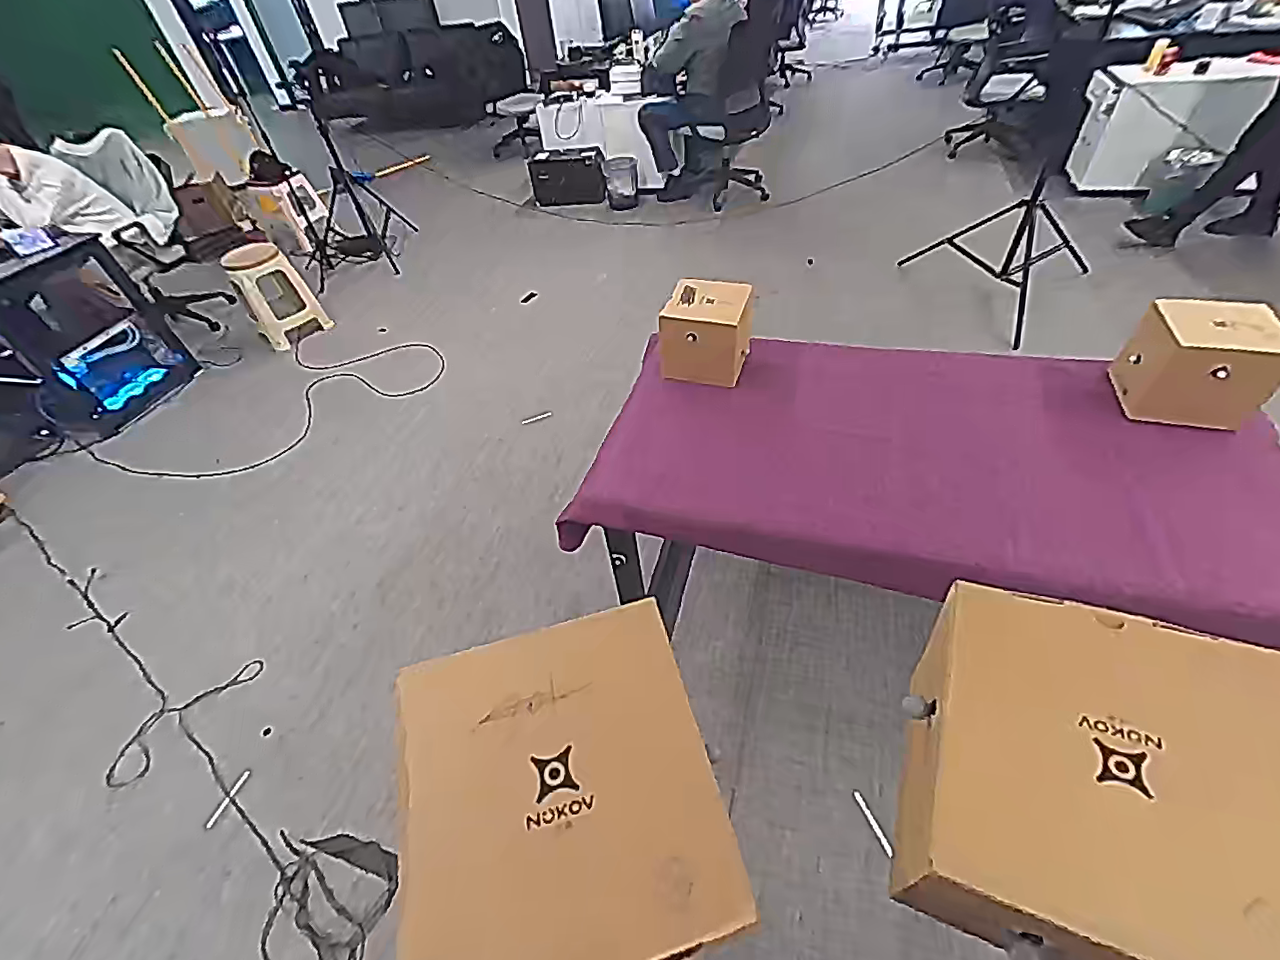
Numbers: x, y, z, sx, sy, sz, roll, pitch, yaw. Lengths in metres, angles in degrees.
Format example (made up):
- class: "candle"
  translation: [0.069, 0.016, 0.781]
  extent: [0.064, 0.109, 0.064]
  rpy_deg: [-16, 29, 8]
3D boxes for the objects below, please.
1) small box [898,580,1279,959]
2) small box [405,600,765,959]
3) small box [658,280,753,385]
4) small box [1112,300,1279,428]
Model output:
- class: "small box"
  translation: [0.269, 0.196, 0.342]
  extent: [0.168, 0.176, 0.179]
  rpy_deg: [11, 52, 24]
- class: "small box"
  translation: [-0.039, 0.211, 0.353]
  extent: [0.168, 0.176, 0.179]
  rpy_deg: [-14, 52, -10]
- class: "small box"
  translation: [0.154, -0.340, 1.253]
  extent: [0.179, 0.176, 0.168]
  rpy_deg: [12, 51, 16]
- class: "small box"
  translation: [1.037, -0.216, 1.016]
  extent: [0.179, 0.176, 0.168]
  rpy_deg: [10, 50, 16]
